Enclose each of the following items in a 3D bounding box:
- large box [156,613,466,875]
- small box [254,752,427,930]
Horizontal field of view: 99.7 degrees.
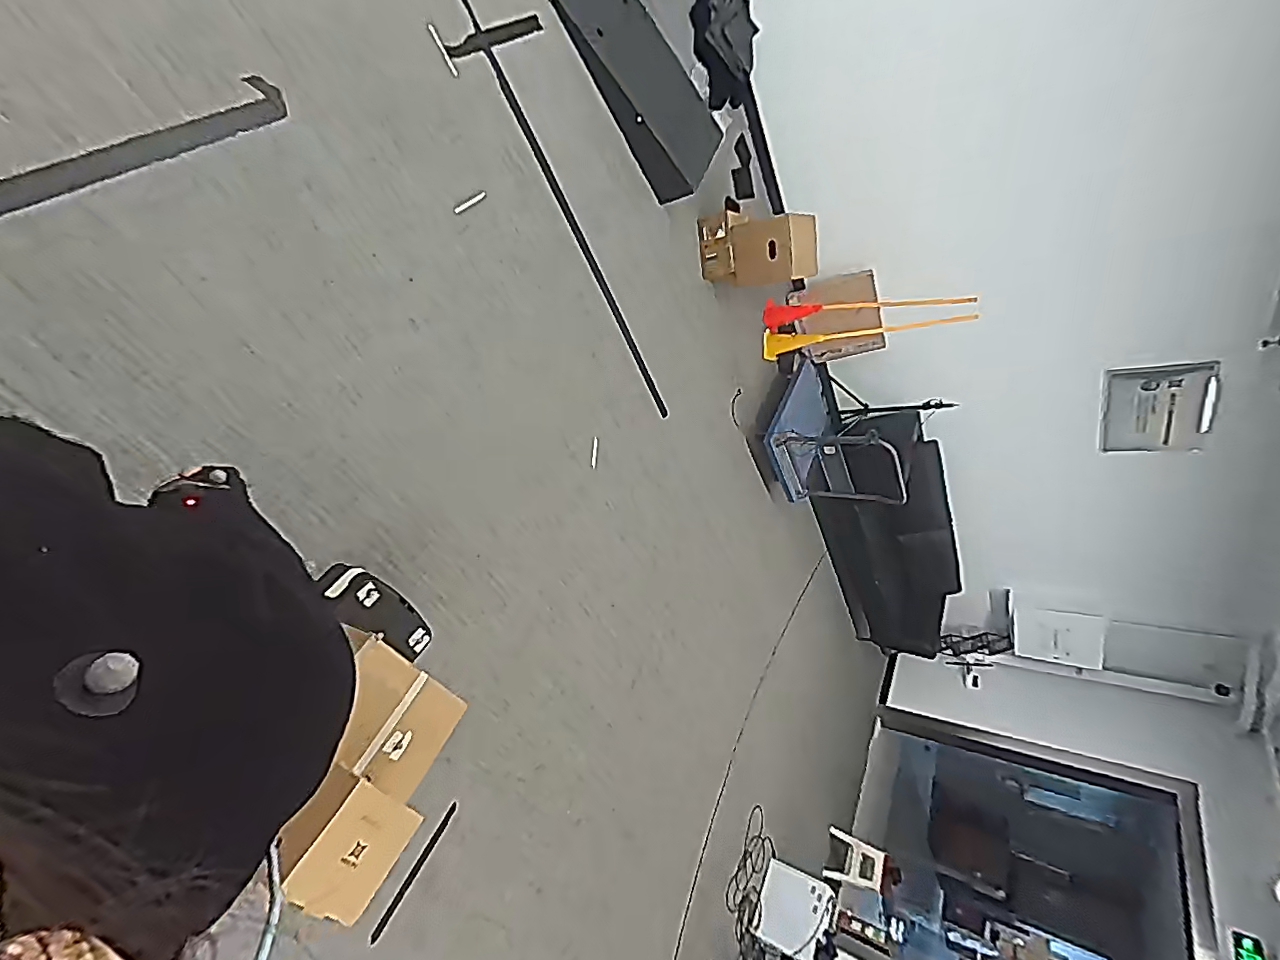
[{"bbox_3d":[-0.662,0.547,1.130,0.320,0.320,0.408,58,47,-36],"label":"large box"},{"bbox_3d":[-0.513,0.603,0.921,0.179,0.176,0.168,-57,131,-36],"label":"small box"}]
